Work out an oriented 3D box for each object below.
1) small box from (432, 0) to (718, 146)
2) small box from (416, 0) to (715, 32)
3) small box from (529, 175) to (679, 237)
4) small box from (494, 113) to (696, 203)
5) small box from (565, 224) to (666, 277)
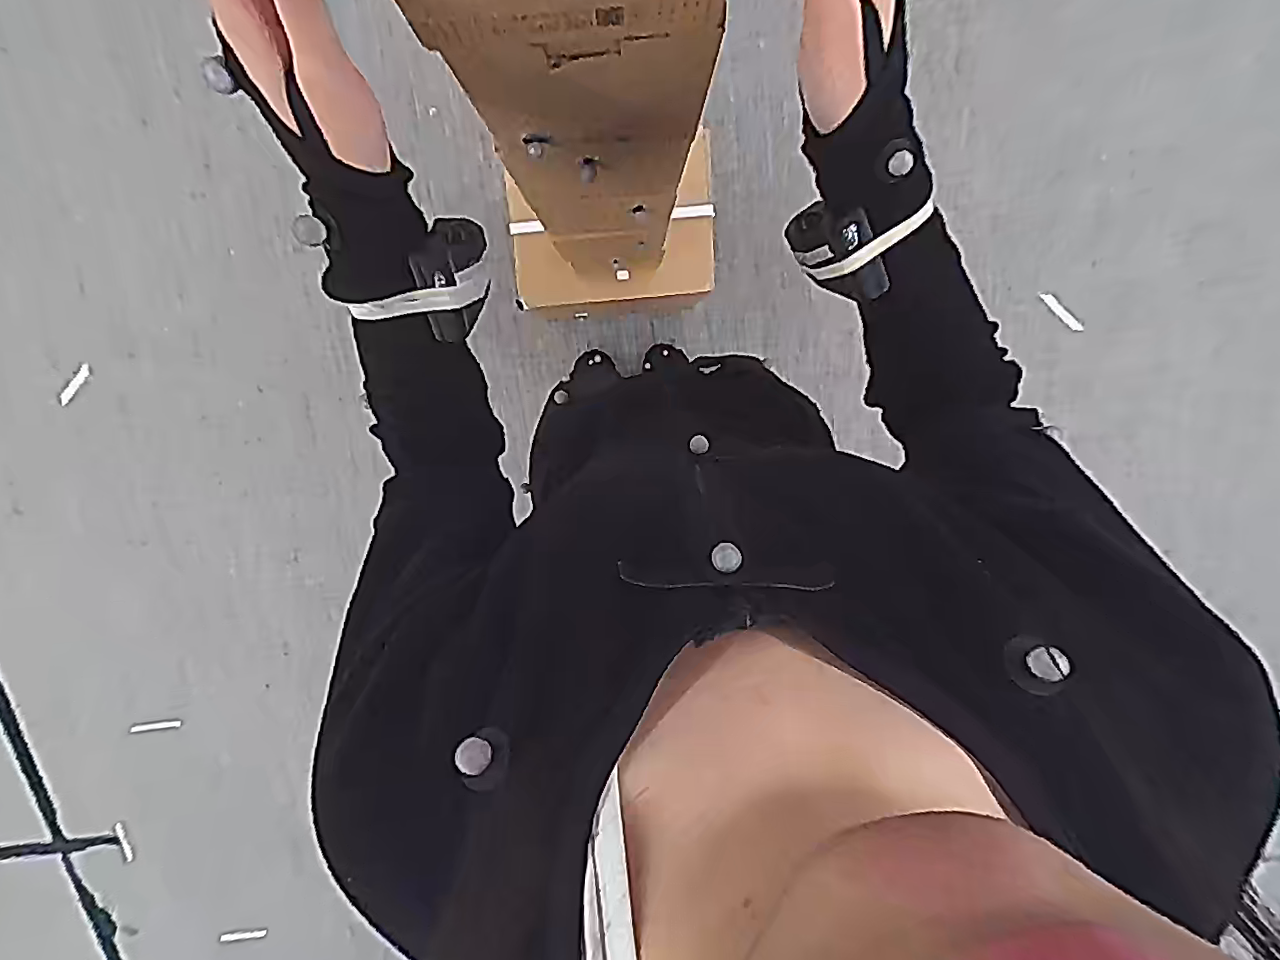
[{"bbox_3d":[-0.040,-0.349,0.368,0.168,0.176,0.179,-3,102,-1],"label":"small box"},{"bbox_3d":[-0.042,-0.312,0.208,0.168,0.176,0.179,-5,104,0],"label":"small box"},{"bbox_3d":[-0.047,-0.417,0.687,0.179,0.176,0.168,-4,102,0],"label":"small box"},{"bbox_3d":[-0.044,-0.384,0.529,0.179,0.176,0.168,-4,103,0],"label":"small box"},{"bbox_3d":[-0.051,-0.485,1.008,0.179,0.176,0.168,-8,103,0],"label":"small box"}]
